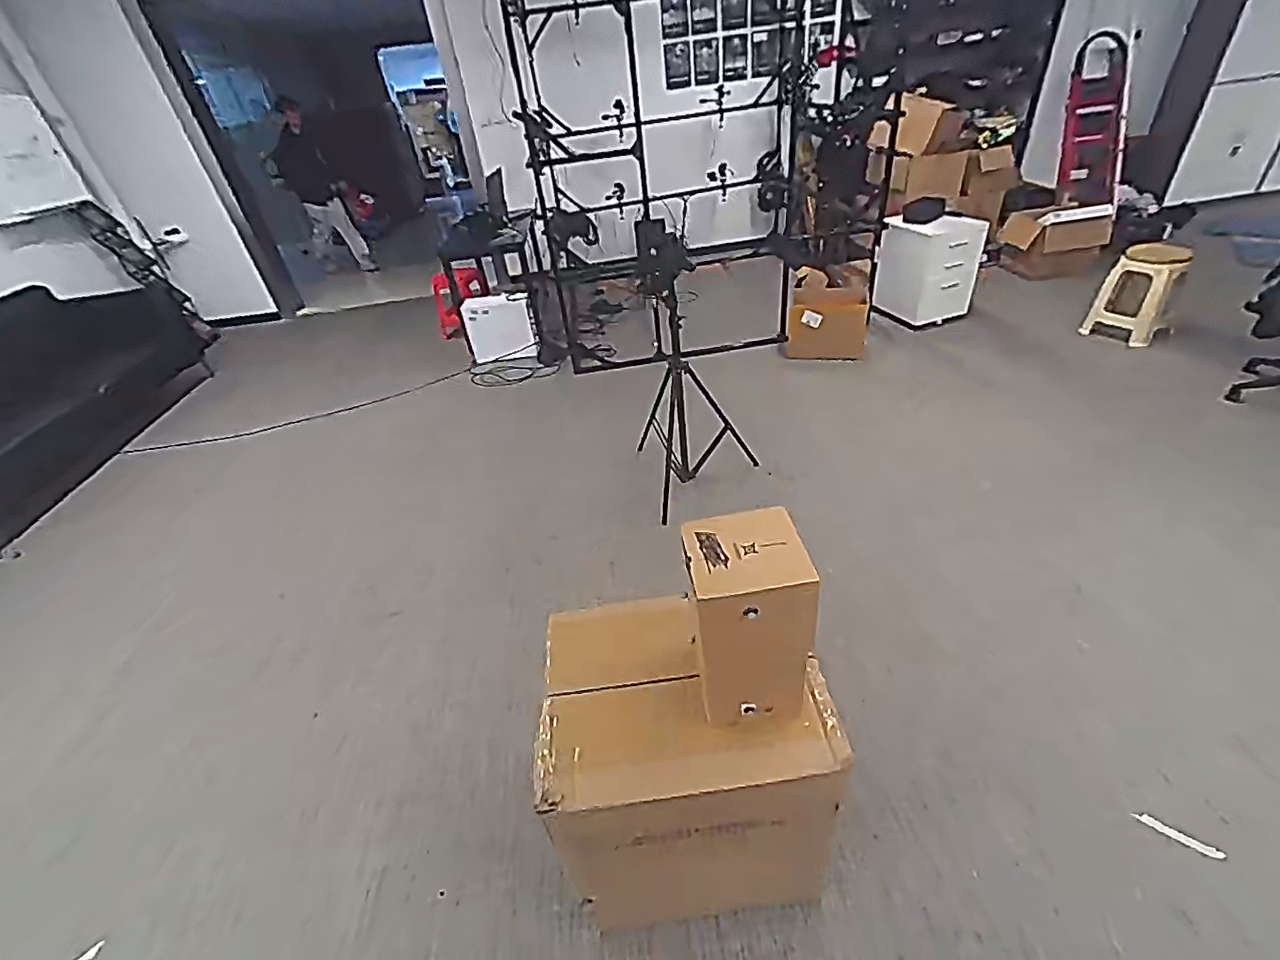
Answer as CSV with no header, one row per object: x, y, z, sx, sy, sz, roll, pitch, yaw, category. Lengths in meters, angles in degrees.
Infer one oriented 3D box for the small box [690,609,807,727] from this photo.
0.183,0.303,0.957,0.168,0.176,0.179,-10,38,1,small box

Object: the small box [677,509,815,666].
0.164,0.173,0.858,0.179,0.176,0.168,-10,37,0,small box
